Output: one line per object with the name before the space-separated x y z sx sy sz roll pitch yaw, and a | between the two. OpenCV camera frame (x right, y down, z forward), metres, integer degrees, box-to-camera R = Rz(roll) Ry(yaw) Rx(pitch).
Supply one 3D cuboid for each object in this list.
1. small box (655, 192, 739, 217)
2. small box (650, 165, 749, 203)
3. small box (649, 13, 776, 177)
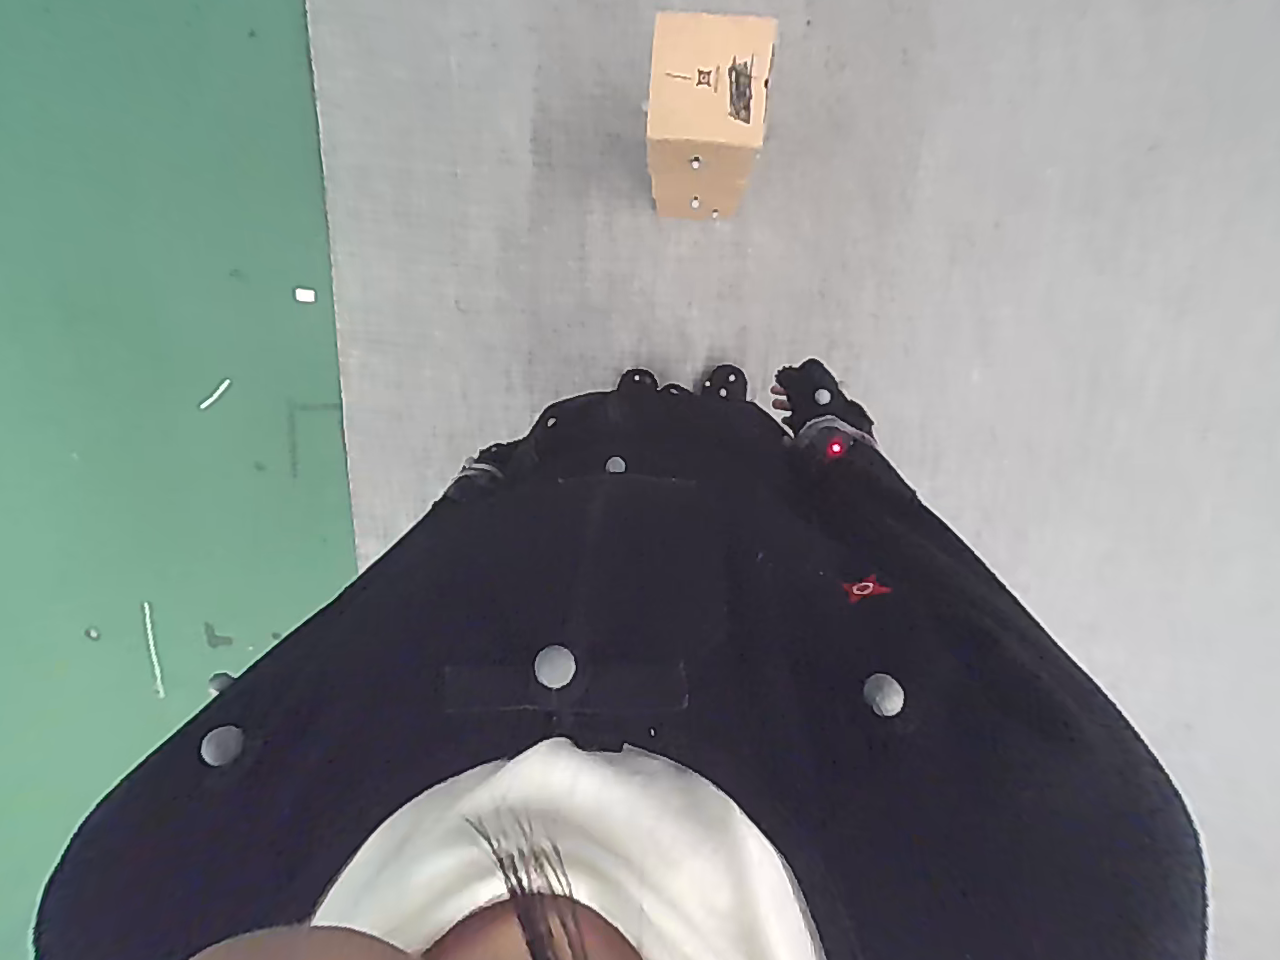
small box | 0.126 -0.685 1.182 0.179 0.176 0.168 4 104 3
small box | 0.117 -0.639 1.025 0.179 0.176 0.168 7 104 1
small box | 0.105 -0.601 0.865 0.179 0.176 0.168 2 104 1
